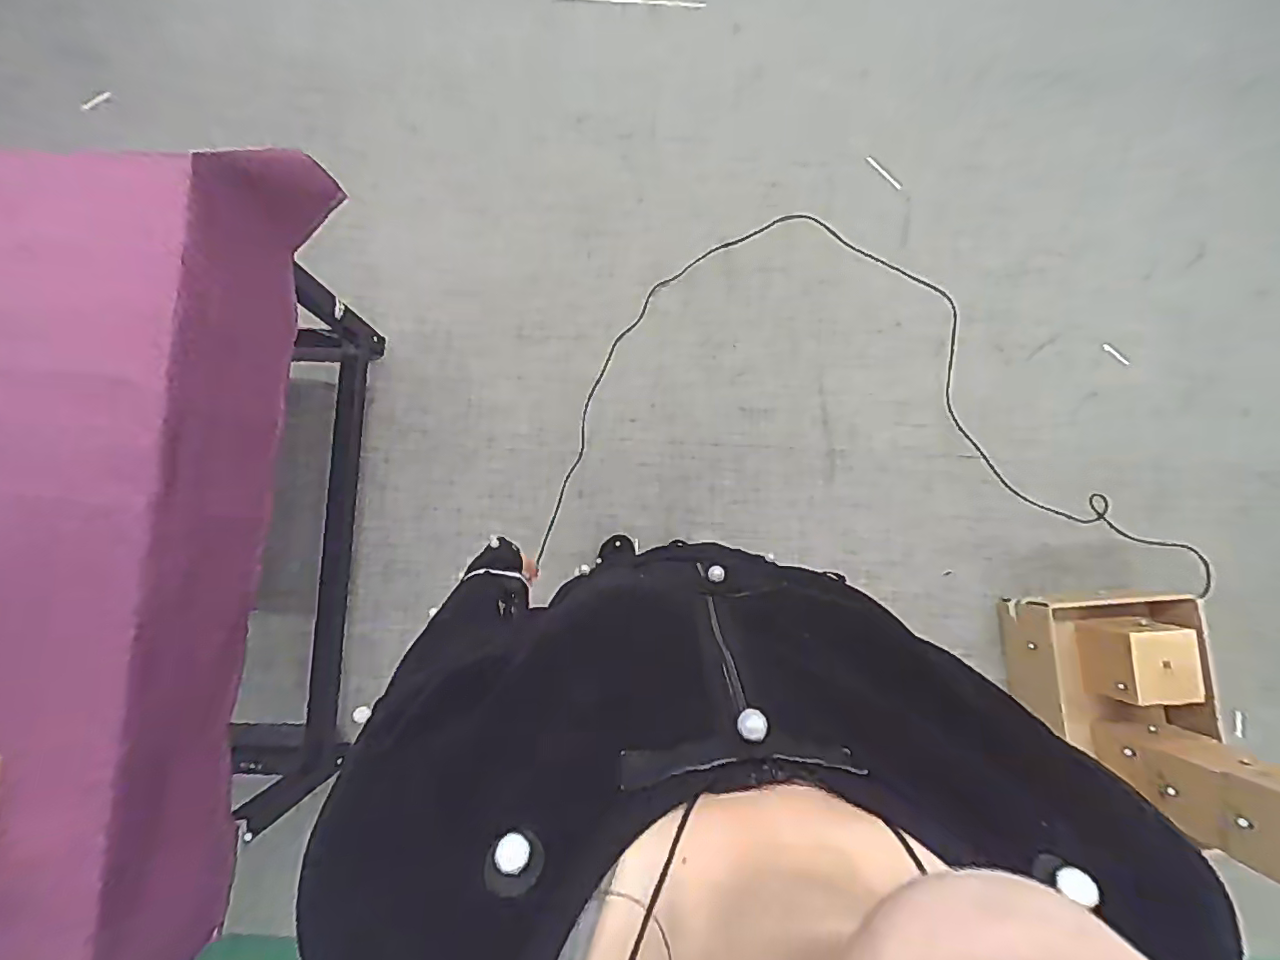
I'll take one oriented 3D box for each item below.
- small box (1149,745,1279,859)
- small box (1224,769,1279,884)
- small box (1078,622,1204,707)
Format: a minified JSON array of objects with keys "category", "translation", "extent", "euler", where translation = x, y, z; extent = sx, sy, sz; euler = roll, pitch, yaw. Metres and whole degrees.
[{"category":"small box","translation":[1.293,0.701,1.194],"extent":[0.179,0.176,0.168],"euler":[-2,83,-1]},{"category":"small box","translation":[1.282,0.681,1.029],"extent":[0.168,0.176,0.179],"euler":[2,83,-1]},{"category":"small box","translation":[1.269,0.463,1.384],"extent":[0.168,0.176,0.179],"euler":[-3,85,0]}]
